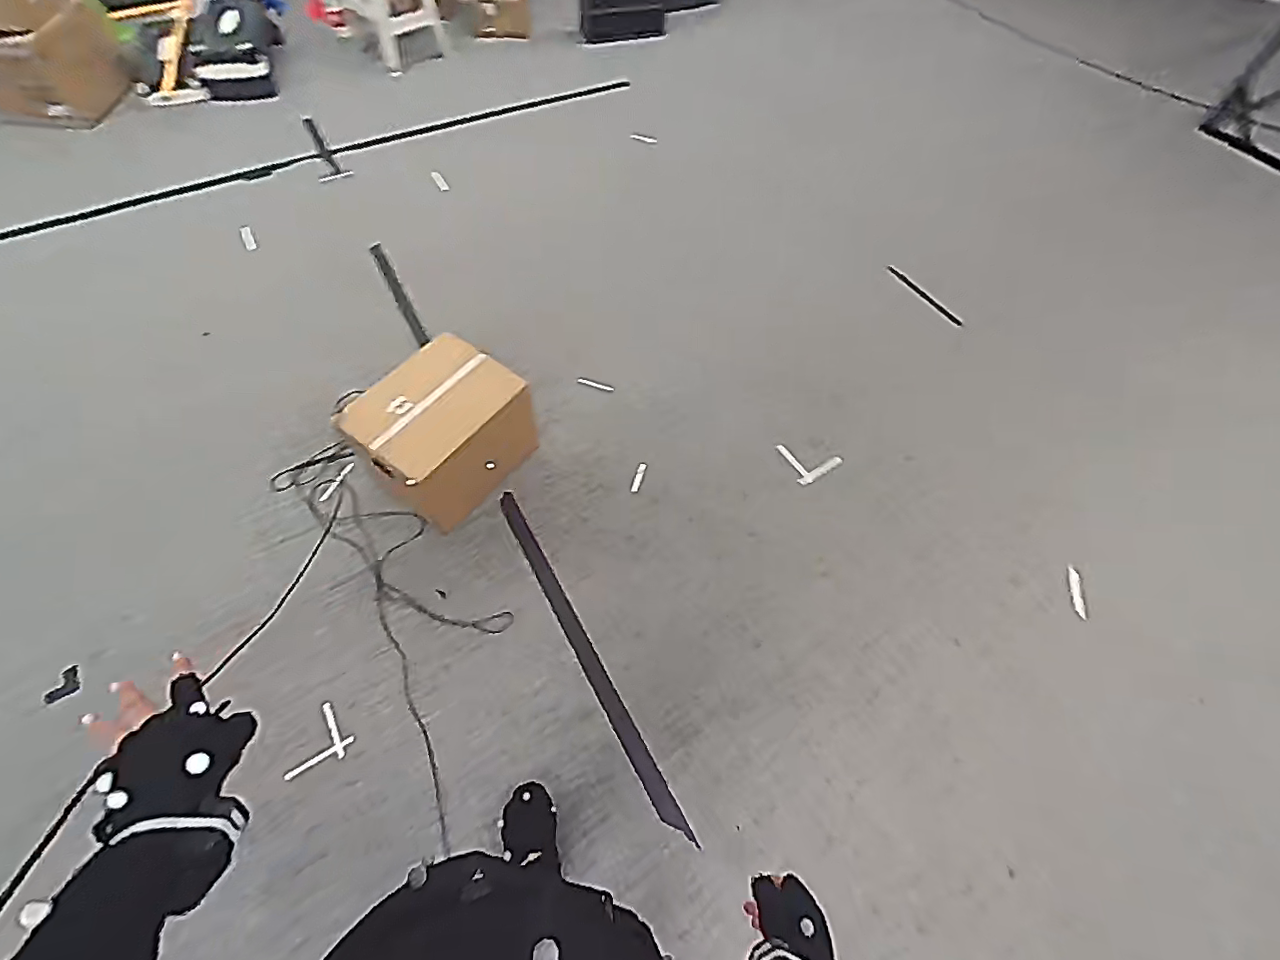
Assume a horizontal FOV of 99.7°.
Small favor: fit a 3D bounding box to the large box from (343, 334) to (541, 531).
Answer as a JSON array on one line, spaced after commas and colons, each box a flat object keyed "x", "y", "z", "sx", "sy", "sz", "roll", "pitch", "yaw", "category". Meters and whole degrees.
[{"x": -0.539, "y": -0.133, "z": 1.566, "sx": 0.320, "sy": 0.320, "sz": 0.408, "roll": 33, "pitch": 64, "yaw": 15, "category": "large box"}]
